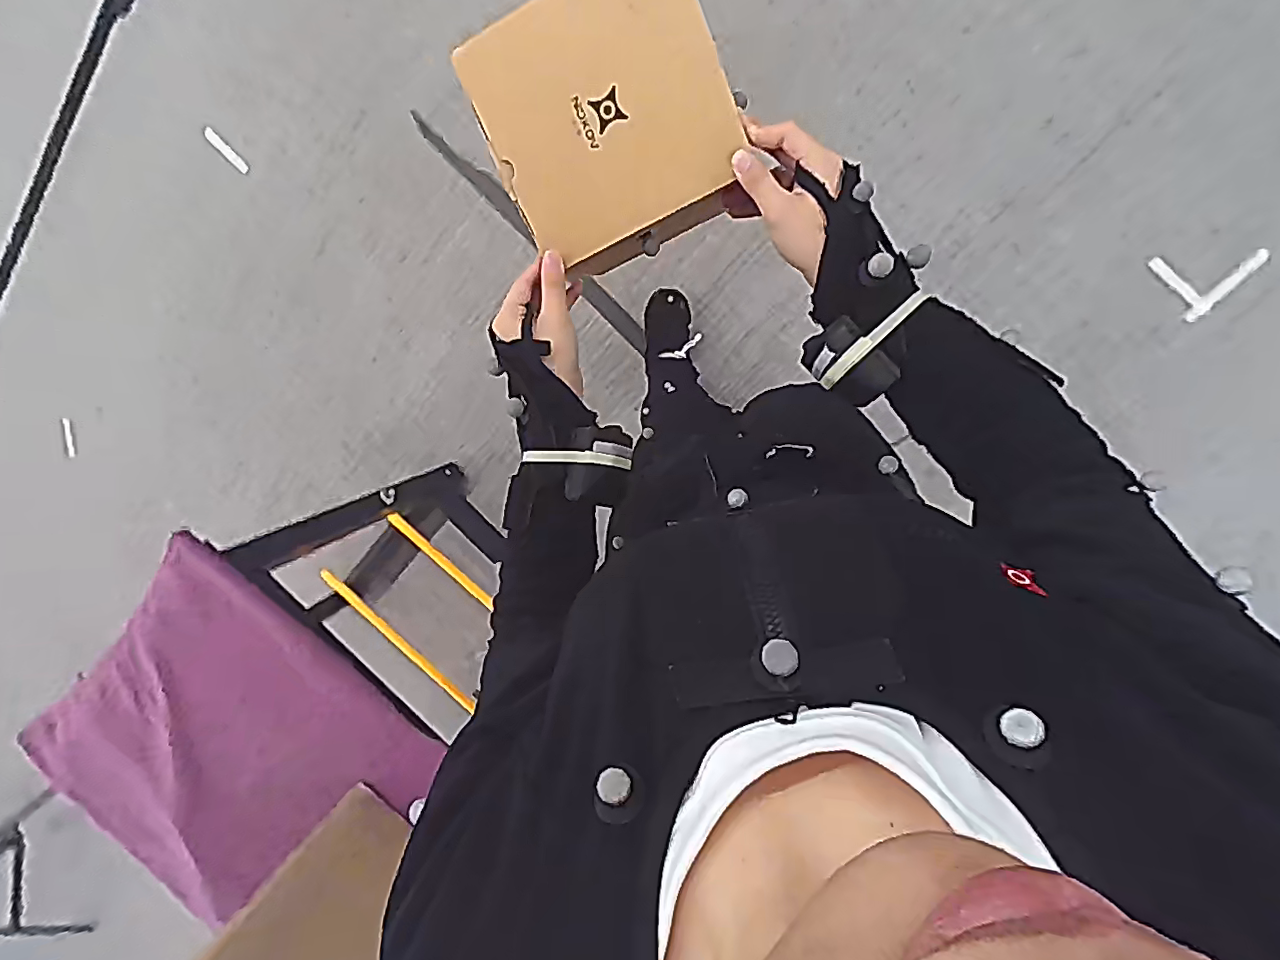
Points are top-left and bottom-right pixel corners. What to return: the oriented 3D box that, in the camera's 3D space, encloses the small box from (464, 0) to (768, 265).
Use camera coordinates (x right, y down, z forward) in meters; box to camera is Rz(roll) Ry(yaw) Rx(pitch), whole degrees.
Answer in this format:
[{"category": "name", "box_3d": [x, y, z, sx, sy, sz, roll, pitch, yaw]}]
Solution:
[{"category": "small box", "box_3d": [-0.006, -0.299, 0.457, 0.179, 0.176, 0.168, -20, 106, 17]}]
